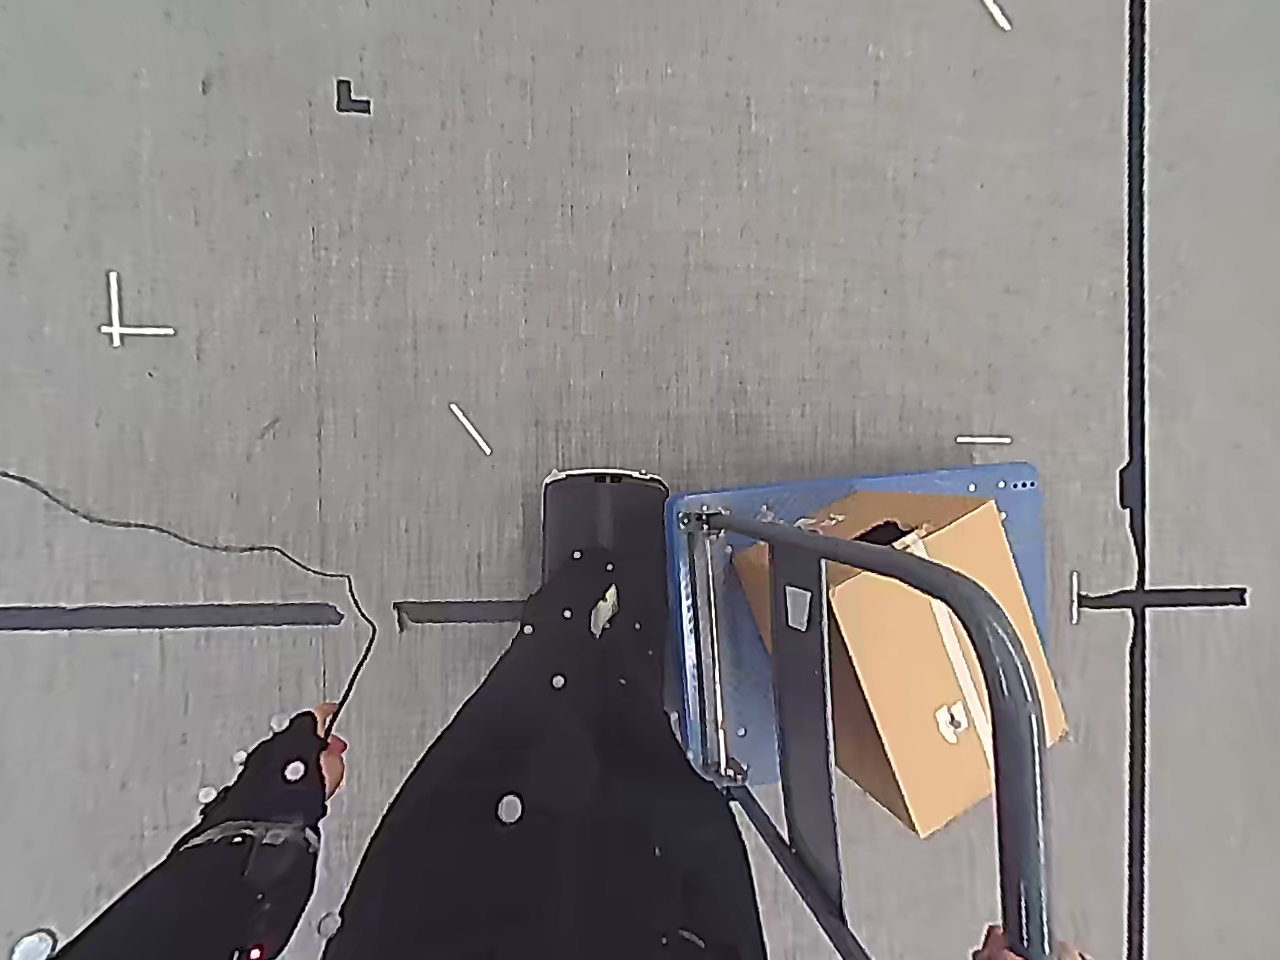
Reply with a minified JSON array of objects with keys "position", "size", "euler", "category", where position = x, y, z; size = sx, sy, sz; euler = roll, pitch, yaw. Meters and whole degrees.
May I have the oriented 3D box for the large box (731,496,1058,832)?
[{"position":[0.417,0.273,0.943],"size":[0.320,0.320,0.408],"euler":[-24,97,-14],"category":"large box"}]
